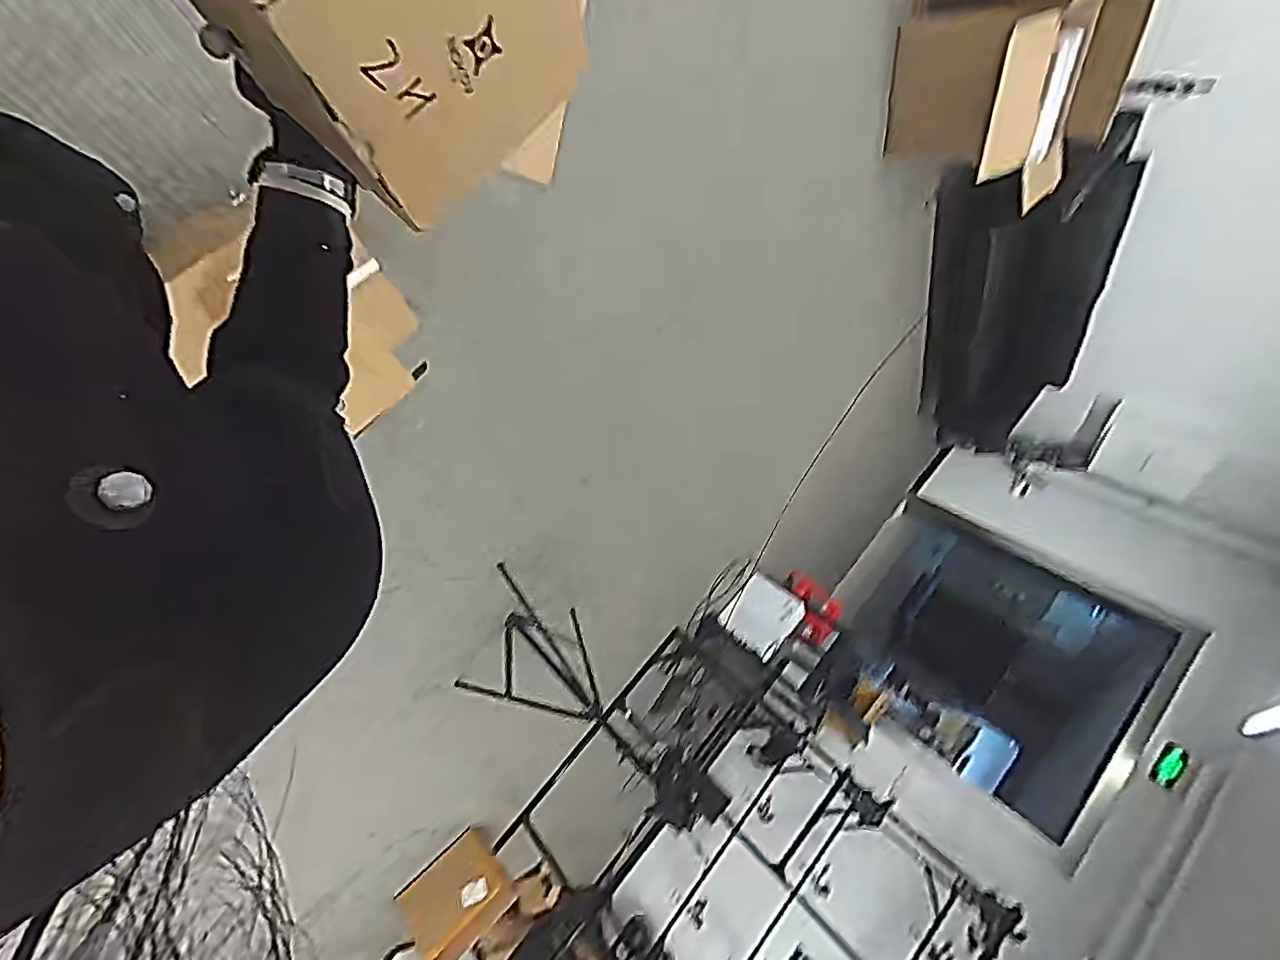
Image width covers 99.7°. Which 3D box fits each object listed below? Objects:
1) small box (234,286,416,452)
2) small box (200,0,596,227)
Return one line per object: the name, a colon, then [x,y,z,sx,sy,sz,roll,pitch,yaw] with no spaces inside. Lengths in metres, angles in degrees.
small box: [-0.510,-0.182,0.872,0.179,0.176,0.168,-46,143,-16]
small box: [-0.149,-0.303,0.314,0.179,0.176,0.168,-47,175,-5]
